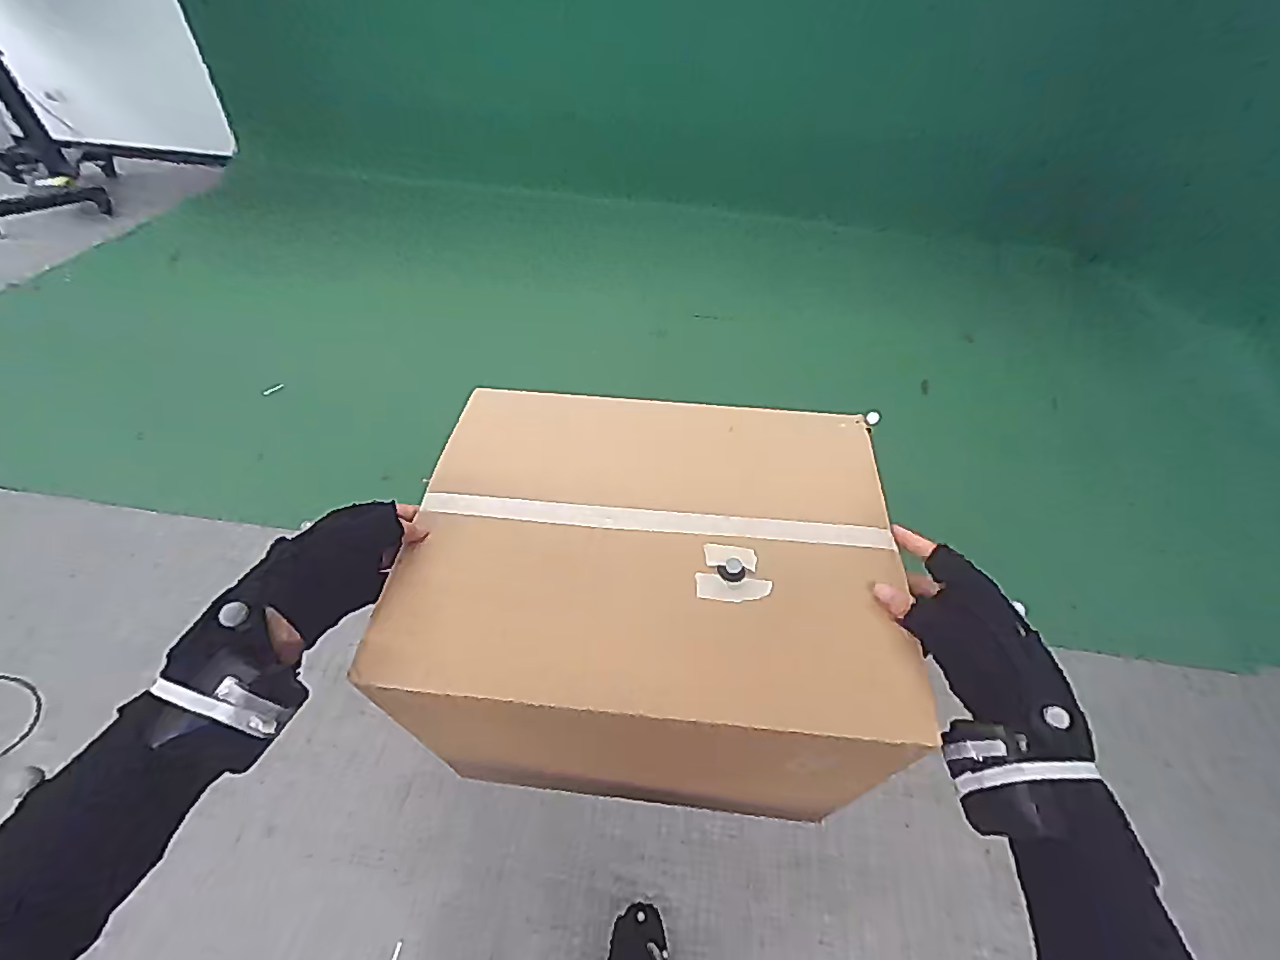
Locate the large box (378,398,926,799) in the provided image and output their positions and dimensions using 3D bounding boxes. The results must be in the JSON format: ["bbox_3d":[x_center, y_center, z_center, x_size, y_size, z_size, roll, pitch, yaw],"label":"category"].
[{"bbox_3d":[0.014,0.133,0.593,0.408,0.320,0.320,4,51,3],"label":"large box"}]
